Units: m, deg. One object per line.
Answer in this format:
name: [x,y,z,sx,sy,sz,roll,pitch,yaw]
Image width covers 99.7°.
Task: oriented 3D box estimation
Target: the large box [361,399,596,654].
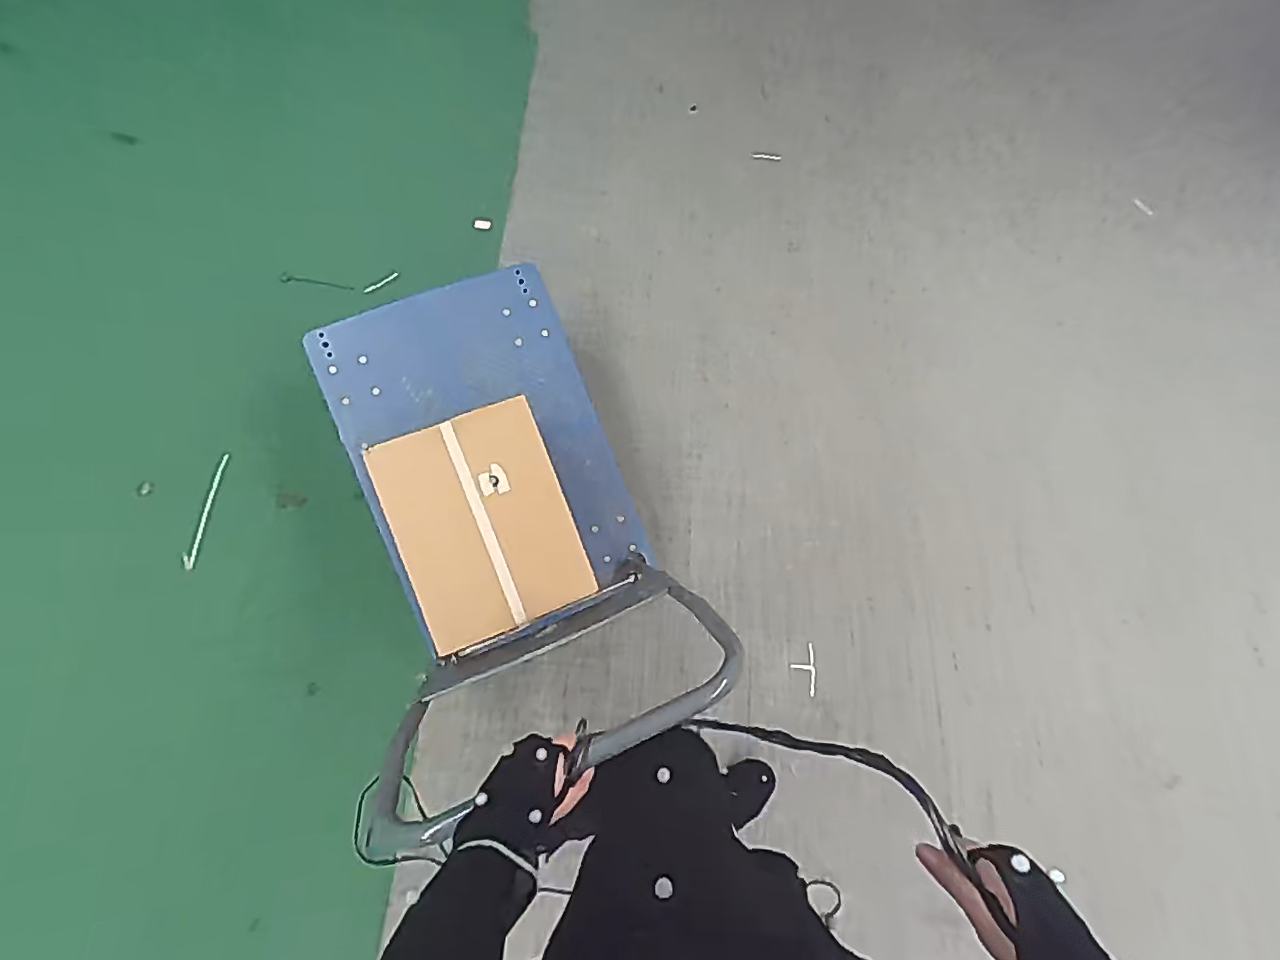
large box: [-0.317,0.092,1.151,0.320,0.320,0.408,-21,90,-11]
